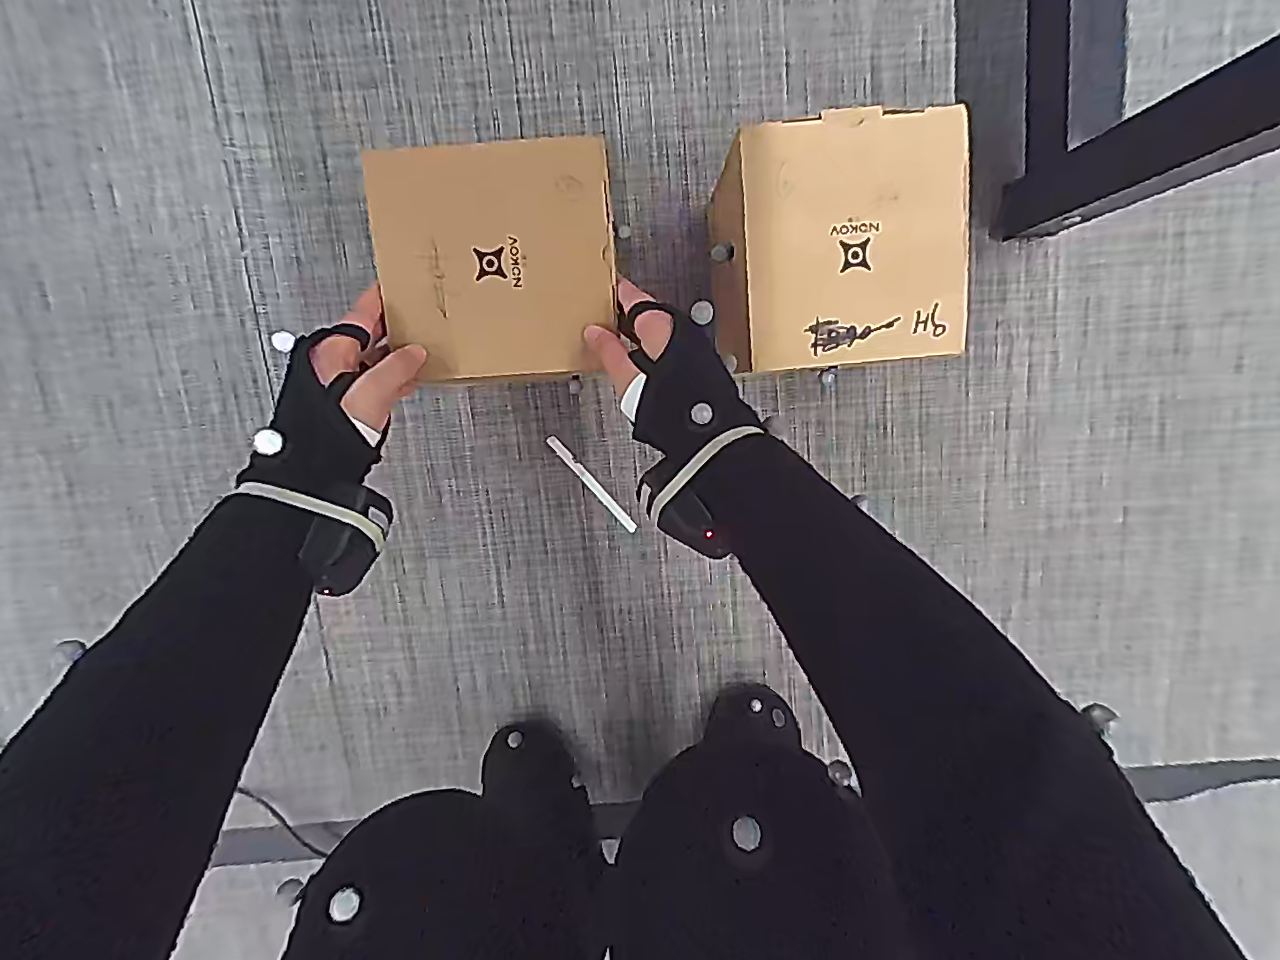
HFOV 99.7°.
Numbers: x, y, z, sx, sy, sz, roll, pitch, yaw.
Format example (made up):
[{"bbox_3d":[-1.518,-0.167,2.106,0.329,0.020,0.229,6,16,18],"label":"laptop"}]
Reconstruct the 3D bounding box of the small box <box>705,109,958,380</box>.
[{"bbox_3d":[0.153,-0.188,0.481,0.168,0.176,0.179,-5,98,1],"label":"small box"}]

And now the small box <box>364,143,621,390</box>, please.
[{"bbox_3d":[-0.109,-0.170,0.482,0.179,0.176,0.168,-5,98,1],"label":"small box"}]
